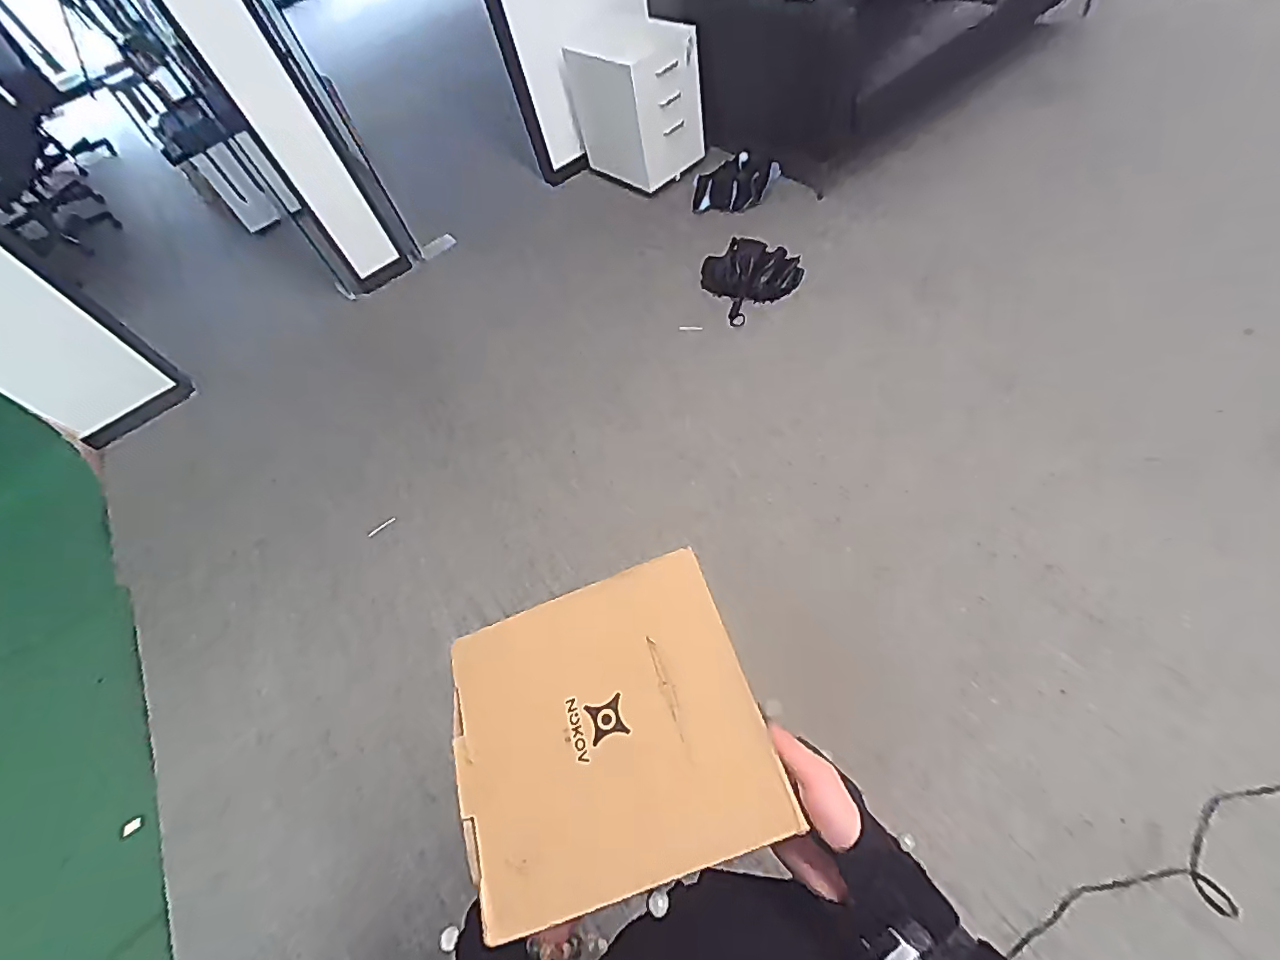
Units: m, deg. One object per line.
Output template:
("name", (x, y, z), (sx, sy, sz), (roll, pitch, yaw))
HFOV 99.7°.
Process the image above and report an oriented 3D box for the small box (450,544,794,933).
("small box", (-0.004, 0.175, 0.381), (0.179, 0.176, 0.168), (-23, 58, 2))
